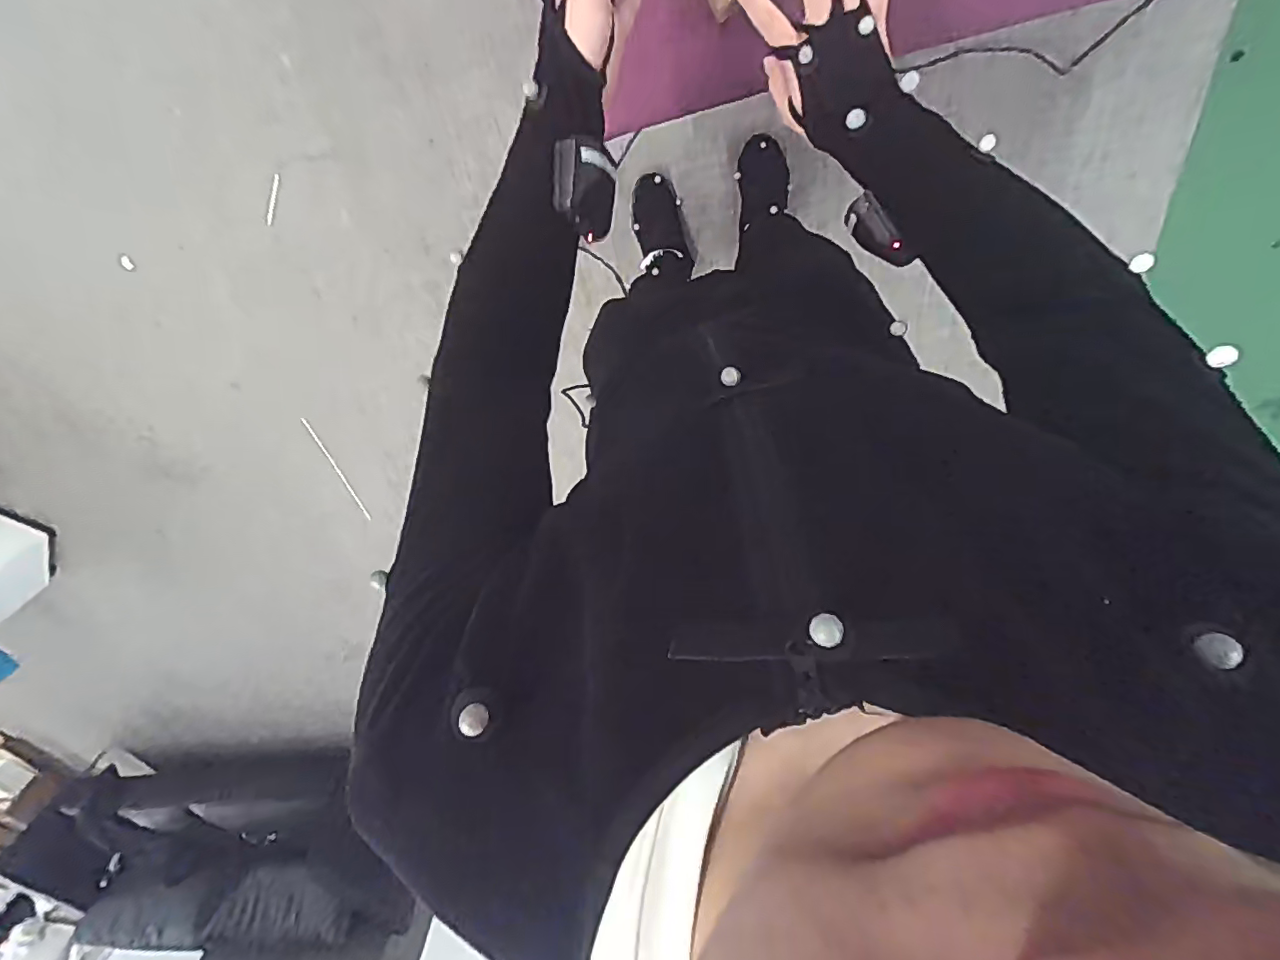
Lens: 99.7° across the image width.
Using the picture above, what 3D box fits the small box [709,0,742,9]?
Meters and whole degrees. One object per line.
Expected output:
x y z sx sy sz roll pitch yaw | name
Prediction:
0.099 -0.556 0.467 0.168 0.176 0.179 -27 117 22 | small box

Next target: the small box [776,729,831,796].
0.605 1.050 2.016 0.168 0.176 0.179 -3 125 7 | small box

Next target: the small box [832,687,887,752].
0.845 0.929 2.099 0.168 0.176 0.179 -5 125 11 | small box
